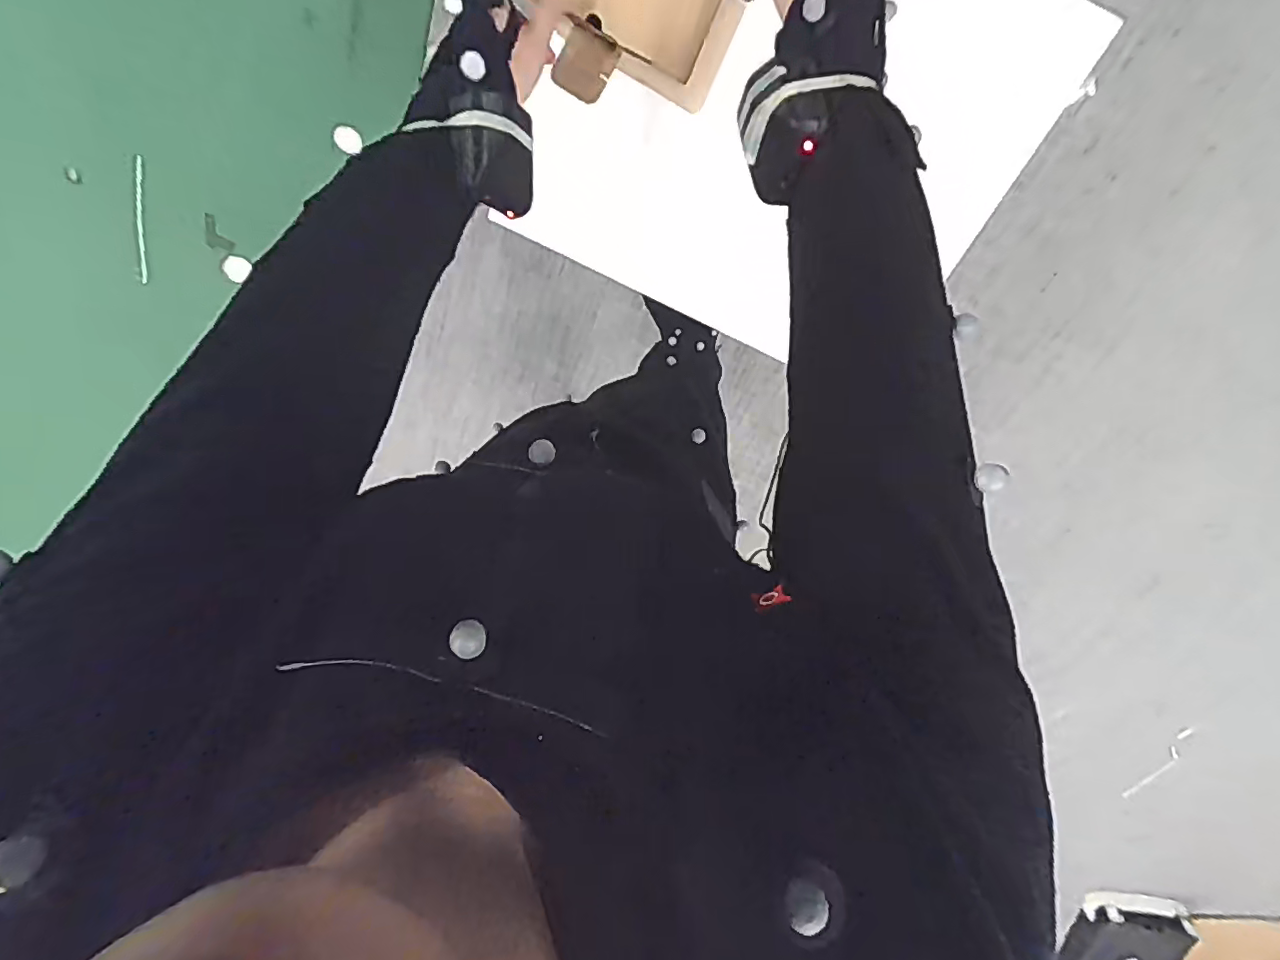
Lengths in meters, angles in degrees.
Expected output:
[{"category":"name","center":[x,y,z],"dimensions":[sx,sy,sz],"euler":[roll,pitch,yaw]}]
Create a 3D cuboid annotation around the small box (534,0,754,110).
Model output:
[{"category":"small box","center":[0.016,-0.443,0.444],"dimensions":[0.168,0.176,0.179],"euler":[27,119,-6]}]
